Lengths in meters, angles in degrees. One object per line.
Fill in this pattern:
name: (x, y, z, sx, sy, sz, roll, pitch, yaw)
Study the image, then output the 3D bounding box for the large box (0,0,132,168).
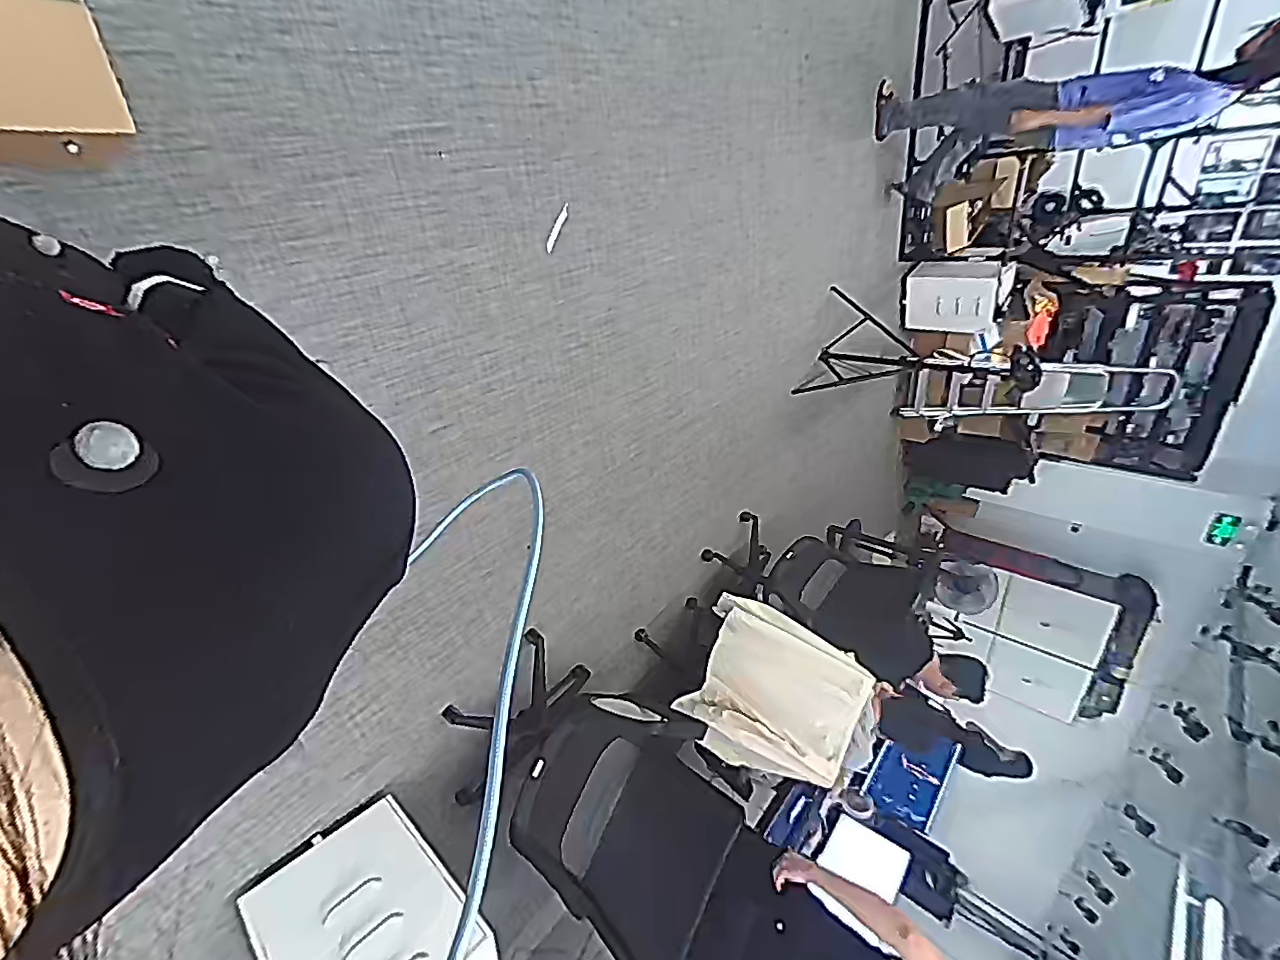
large box: (-0.964, -0.569, 0.658, 0.408, 0.320, 0.320, -30, 124, -40)
